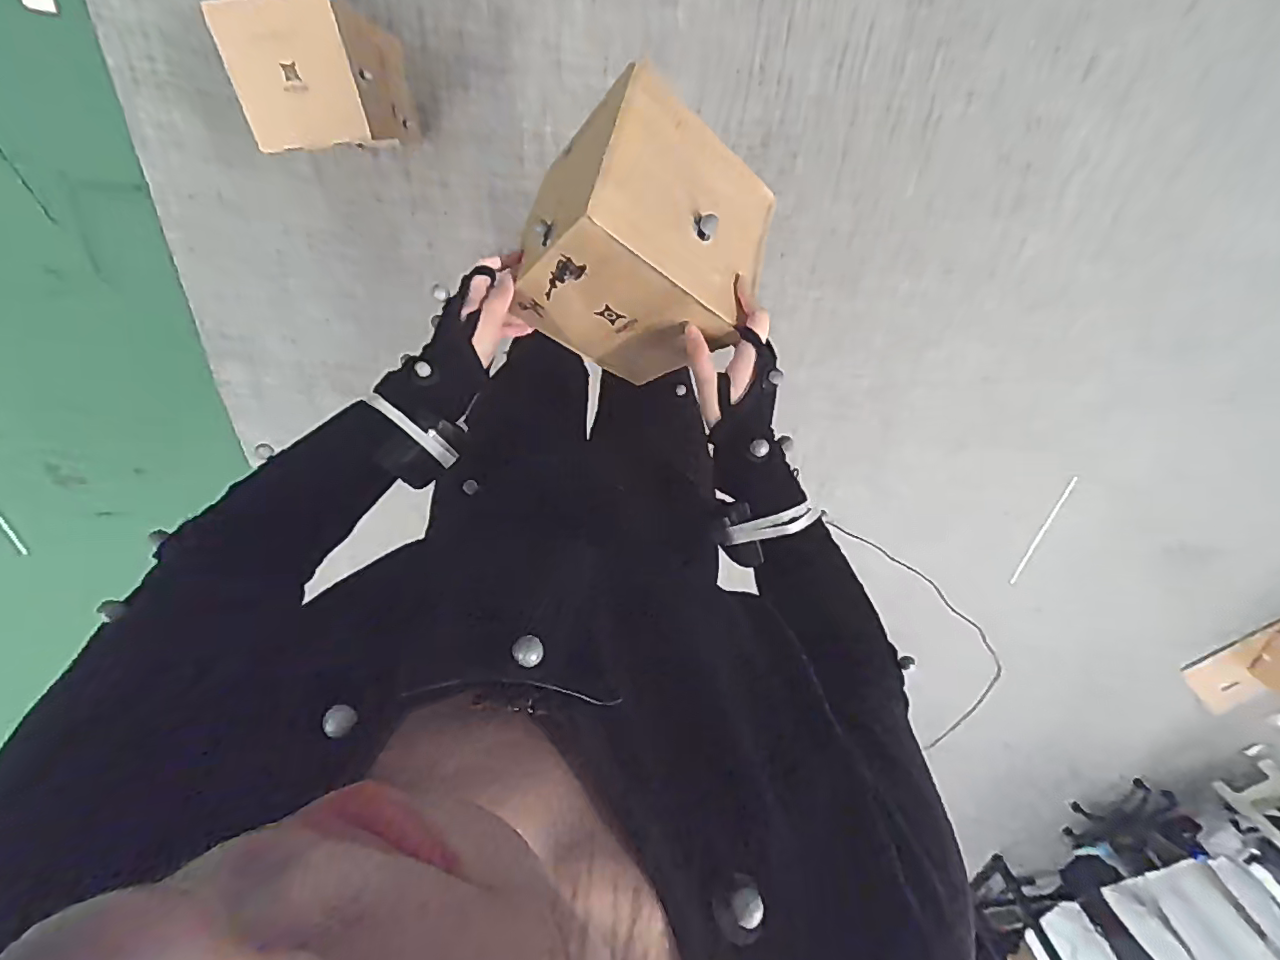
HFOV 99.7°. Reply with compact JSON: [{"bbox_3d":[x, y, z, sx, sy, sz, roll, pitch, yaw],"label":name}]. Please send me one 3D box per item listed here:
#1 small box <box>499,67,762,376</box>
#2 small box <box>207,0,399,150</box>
[{"bbox_3d":[-0.004,-0.231,0.520,0.179,0.176,0.168,25,158,-31],"label":"small box"},{"bbox_3d":[-0.491,-0.617,0.825,0.168,0.176,0.179,-8,124,-3],"label":"small box"}]
